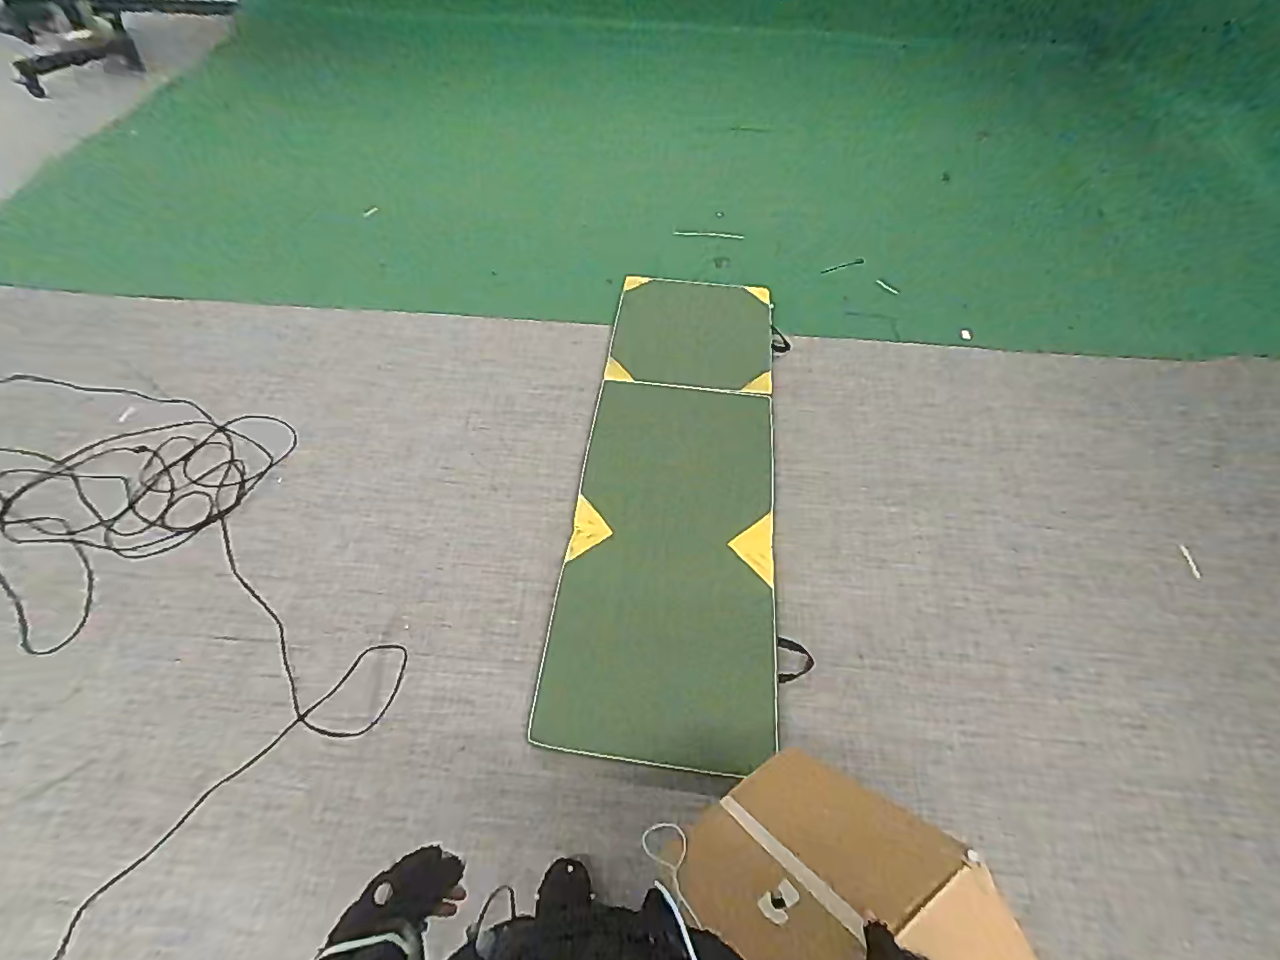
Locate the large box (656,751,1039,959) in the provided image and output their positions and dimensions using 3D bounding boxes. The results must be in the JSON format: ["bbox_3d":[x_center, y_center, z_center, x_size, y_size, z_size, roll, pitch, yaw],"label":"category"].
[{"bbox_3d":[0.276,0.652,0.742,0.320,0.408,0.320,-29,89,-19],"label":"large box"}]
